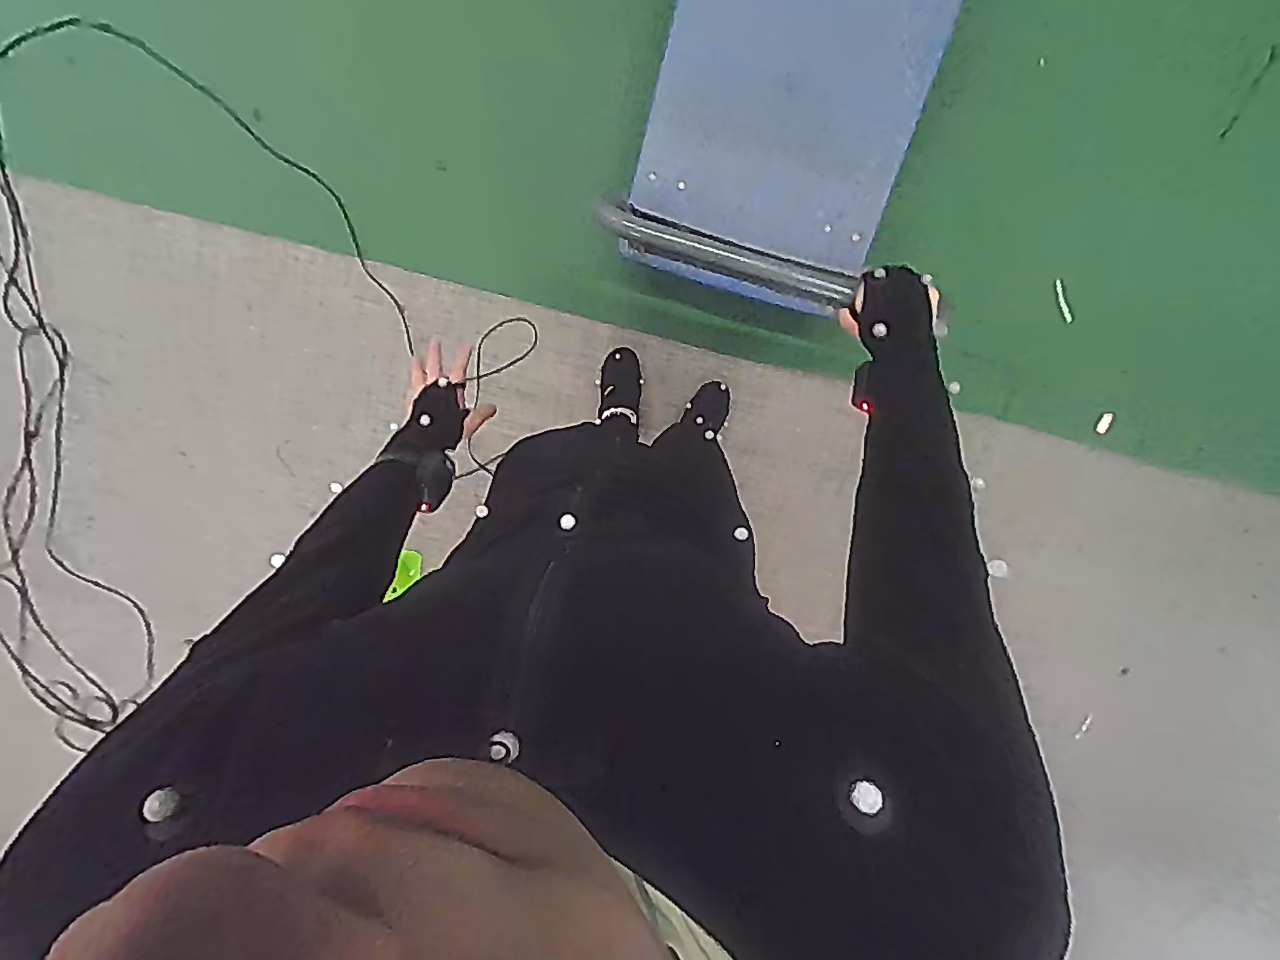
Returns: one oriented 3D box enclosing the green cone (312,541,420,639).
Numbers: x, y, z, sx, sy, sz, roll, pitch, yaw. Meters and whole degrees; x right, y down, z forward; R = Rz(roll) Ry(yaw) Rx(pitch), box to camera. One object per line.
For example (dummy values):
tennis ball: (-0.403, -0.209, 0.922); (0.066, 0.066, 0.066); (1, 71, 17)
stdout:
green cone: (-0.841, 0.354, 1.620); (0.202, 0.368, 0.200); (11, 108, 2)
